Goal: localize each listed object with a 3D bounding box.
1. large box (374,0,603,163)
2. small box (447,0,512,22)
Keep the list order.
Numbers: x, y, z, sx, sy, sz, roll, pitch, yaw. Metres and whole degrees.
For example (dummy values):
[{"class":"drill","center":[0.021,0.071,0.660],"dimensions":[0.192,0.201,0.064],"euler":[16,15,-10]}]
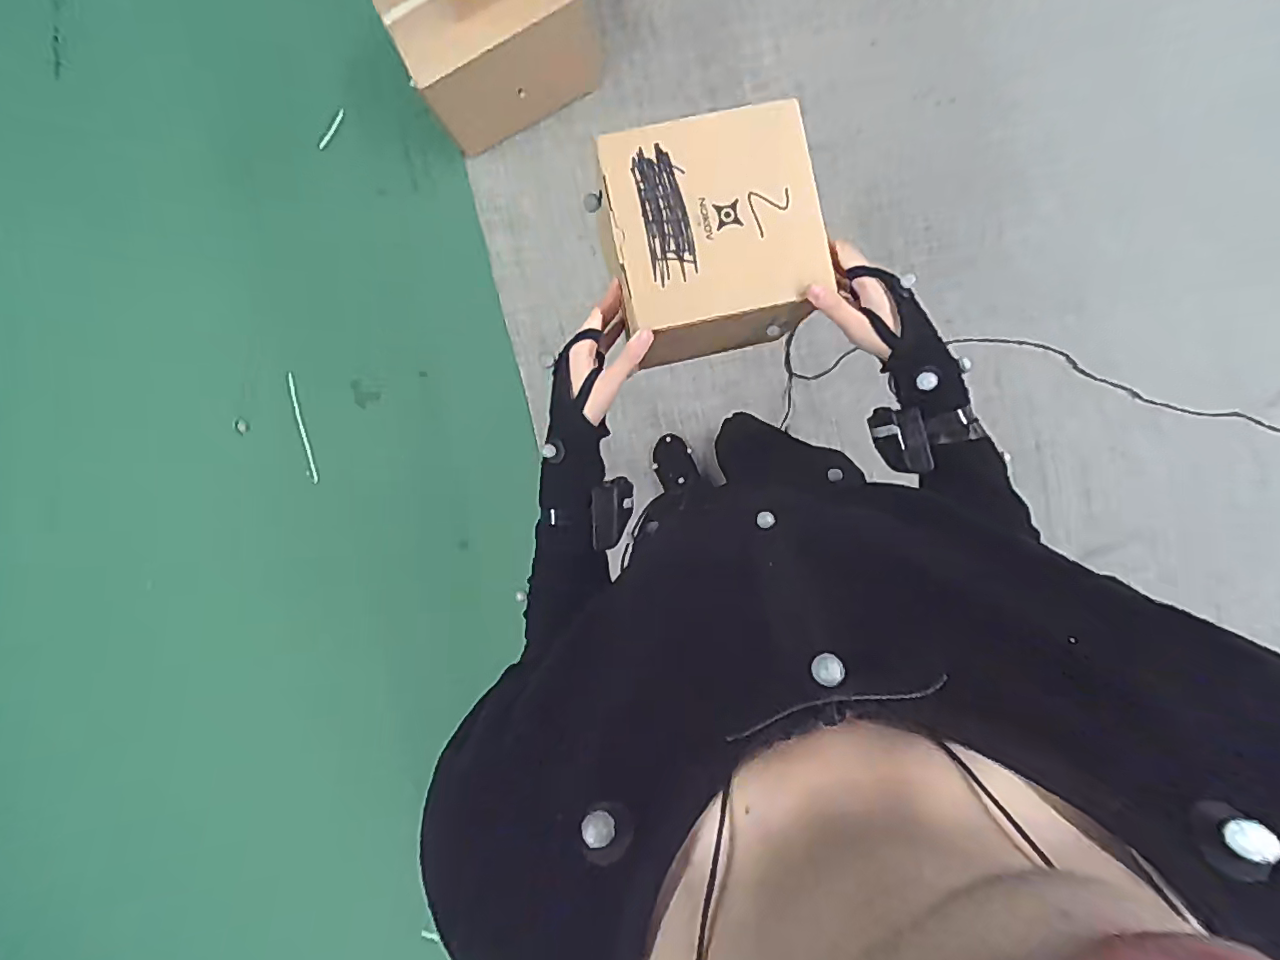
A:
[{"class":"large box","center":[-0.348,-1.067,1.300],"dimensions":[0.408,0.320,0.320],"euler":[-27,92,6]},{"class":"small box","center":[-0.338,-1.059,1.054],"dimensions":[0.179,0.176,0.168],"euler":[-23,94,5]}]
